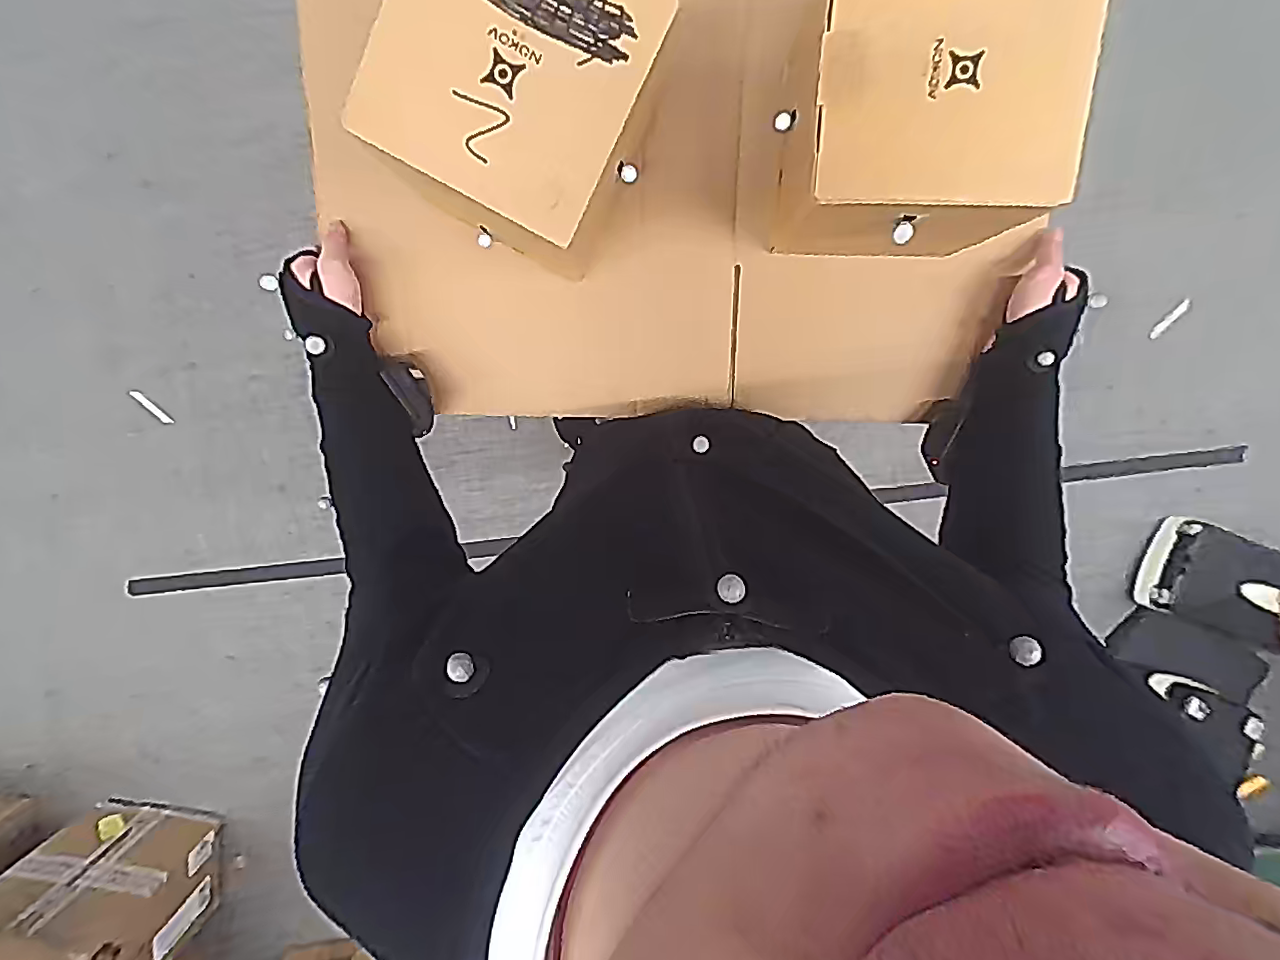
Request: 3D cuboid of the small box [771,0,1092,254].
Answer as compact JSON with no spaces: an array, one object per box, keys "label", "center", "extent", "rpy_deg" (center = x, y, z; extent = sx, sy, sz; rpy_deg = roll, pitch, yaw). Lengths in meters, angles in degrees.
[{"label":"small box","center":[0.217,-0.293,0.451],"extent":[0.179,0.176,0.168],"rpy_deg":[2,102,4]}]
